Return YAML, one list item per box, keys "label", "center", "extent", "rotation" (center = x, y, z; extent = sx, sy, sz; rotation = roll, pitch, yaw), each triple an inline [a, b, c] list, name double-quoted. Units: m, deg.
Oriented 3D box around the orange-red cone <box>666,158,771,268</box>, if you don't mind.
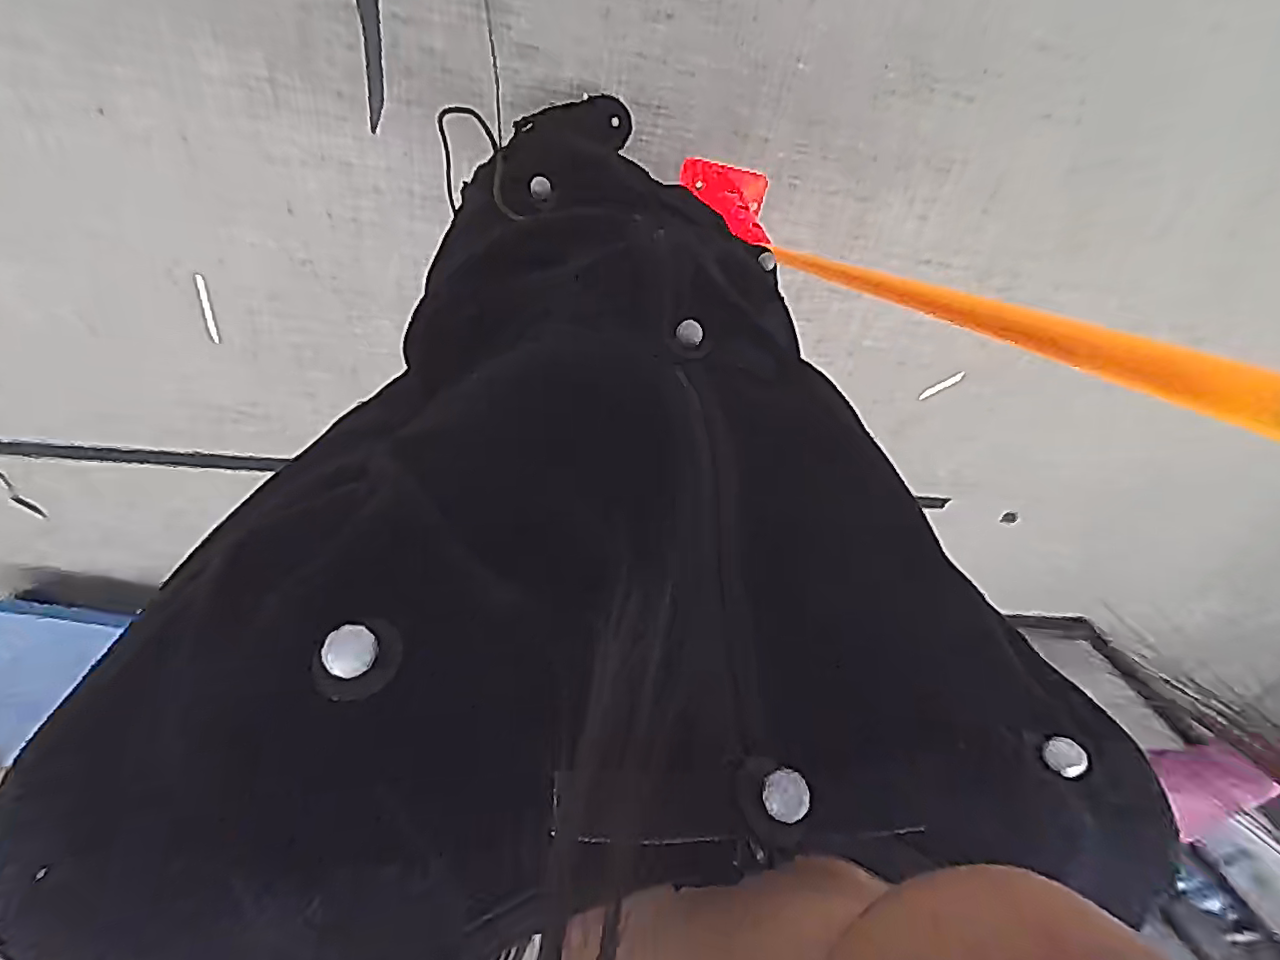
- label: "orange-red cone"
  center: [0.190, -0.492, 1.073]
  extent: [0.198, 0.360, 0.199]
  rotation: [8, 124, -13]
